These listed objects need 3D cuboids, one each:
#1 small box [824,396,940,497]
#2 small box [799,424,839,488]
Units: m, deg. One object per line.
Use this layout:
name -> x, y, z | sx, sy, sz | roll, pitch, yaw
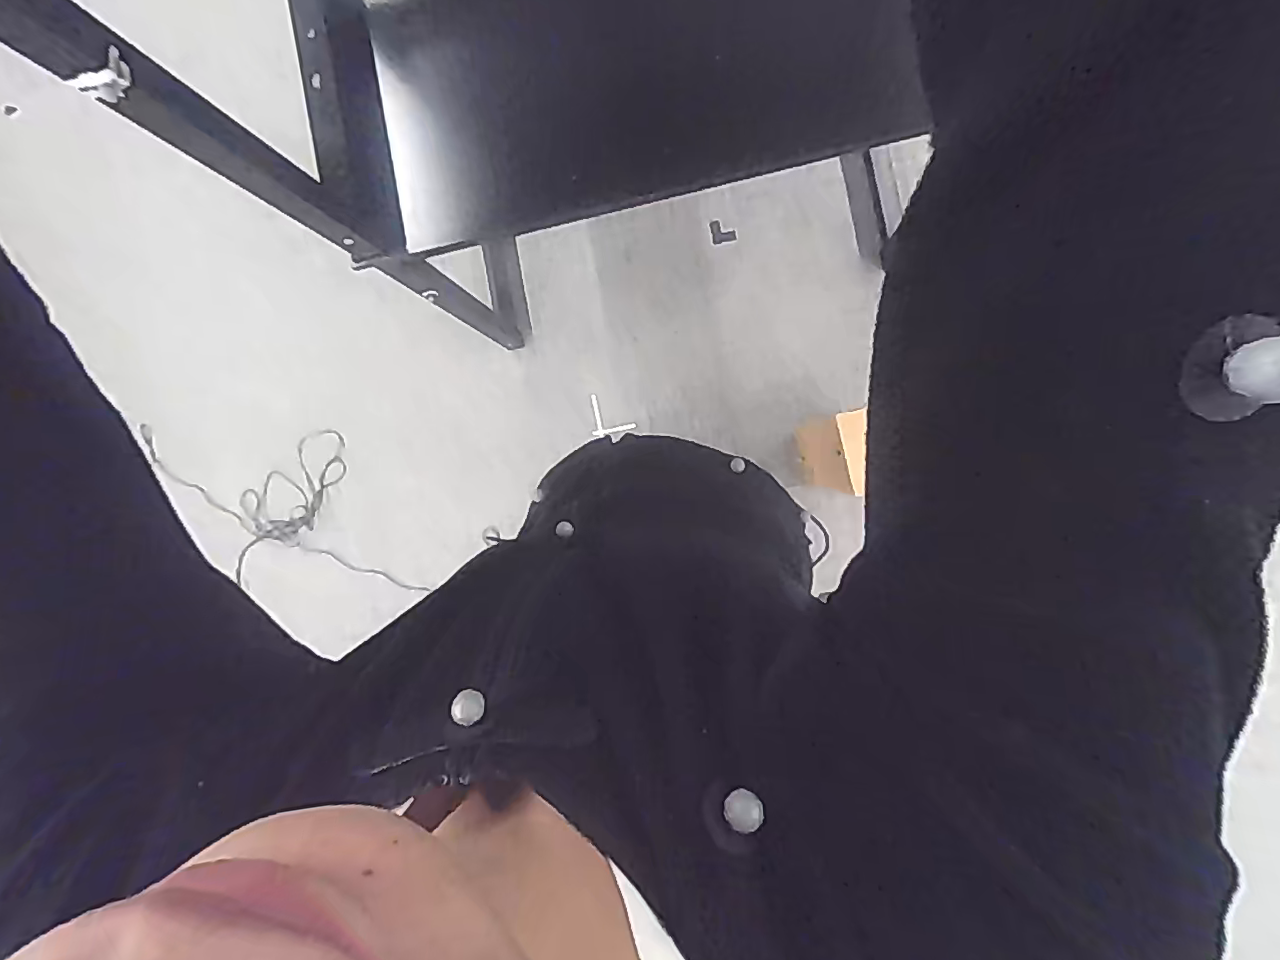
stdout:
small box -> 0.508, -0.068, 1.157 | 0.168, 0.176, 0.179 | -14, 88, 8
small box -> 0.550, -0.076, 1.482 | 0.179, 0.176, 0.168 | -12, 88, 9
